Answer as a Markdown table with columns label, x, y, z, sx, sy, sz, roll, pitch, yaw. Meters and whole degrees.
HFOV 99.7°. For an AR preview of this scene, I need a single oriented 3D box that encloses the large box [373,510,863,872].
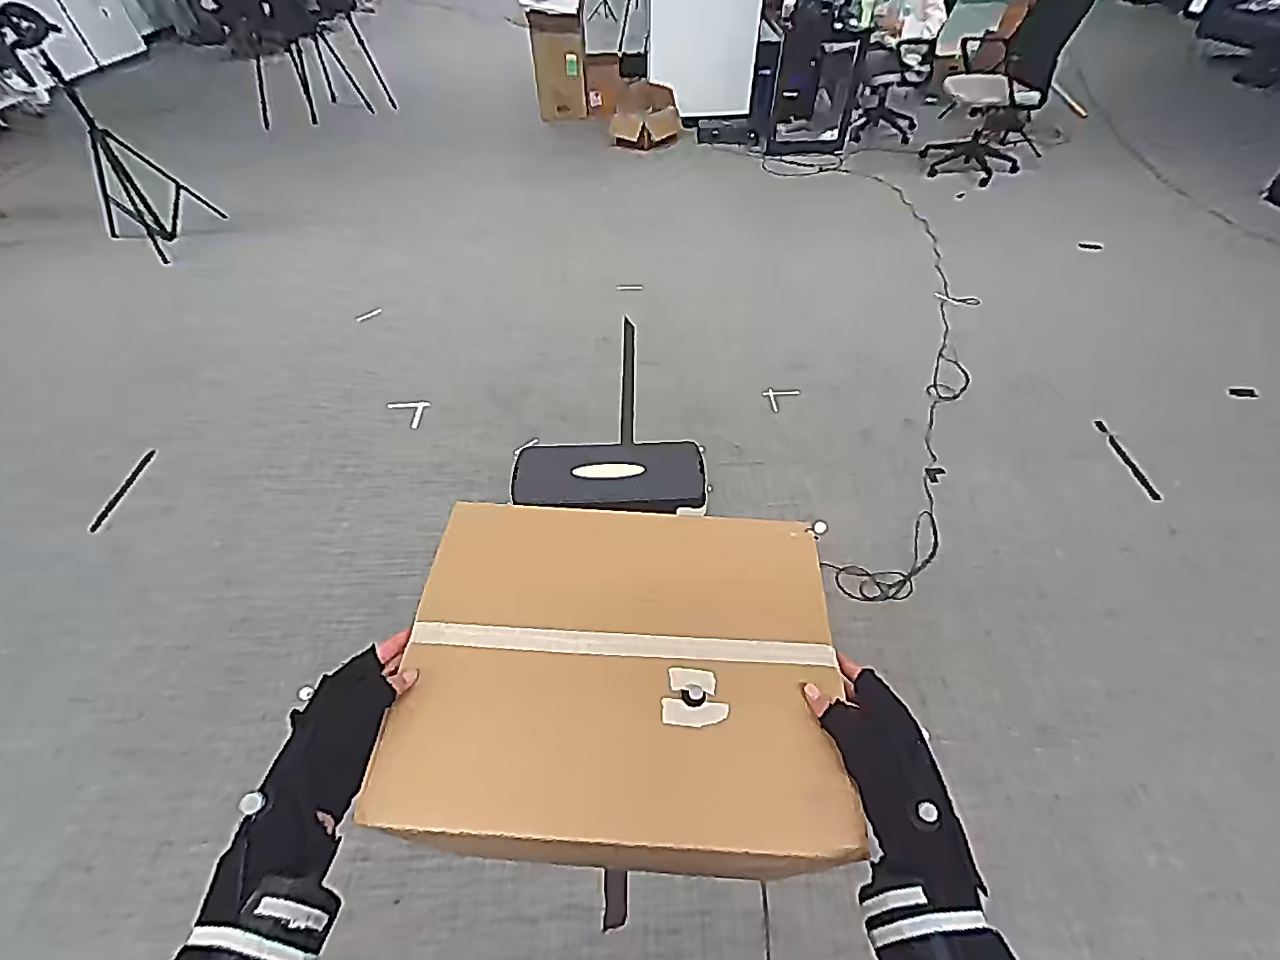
| label | x | y | z | sx | sy | sz | roll | pitch | yaw |
| --- | --- | --- | --- | --- | --- | --- | --- | --- | --- |
| large box | -0.018 | 0.255 | 0.638 | 0.408 | 0.320 | 0.320 | 4 | 52 | 0 |
